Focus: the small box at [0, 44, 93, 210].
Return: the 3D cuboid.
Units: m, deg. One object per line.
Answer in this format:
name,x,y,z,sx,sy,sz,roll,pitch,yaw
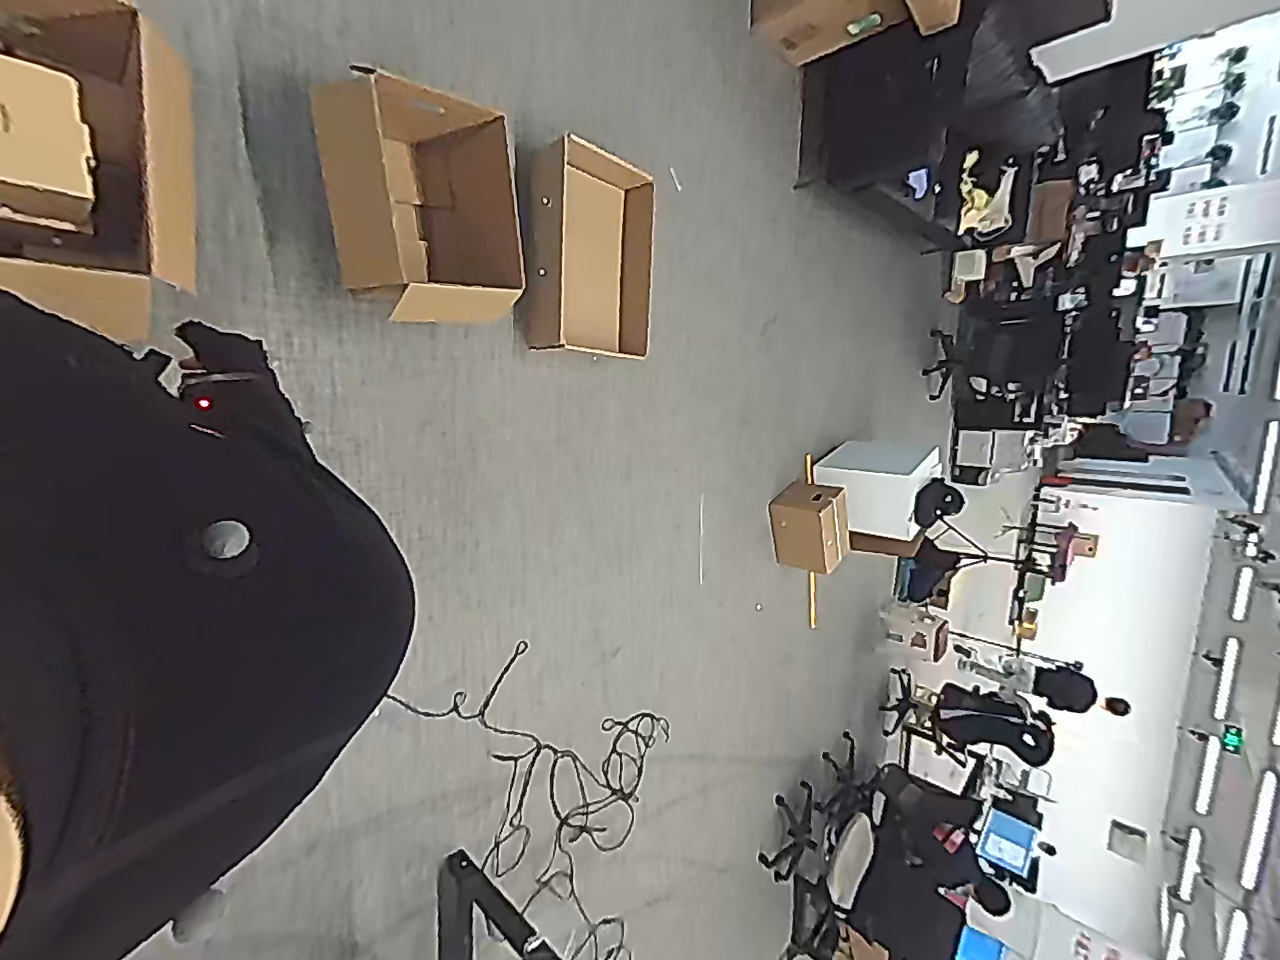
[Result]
small box,-0.916,-0.500,0.762,0.179,0.176,0.168,-9,101,-50
